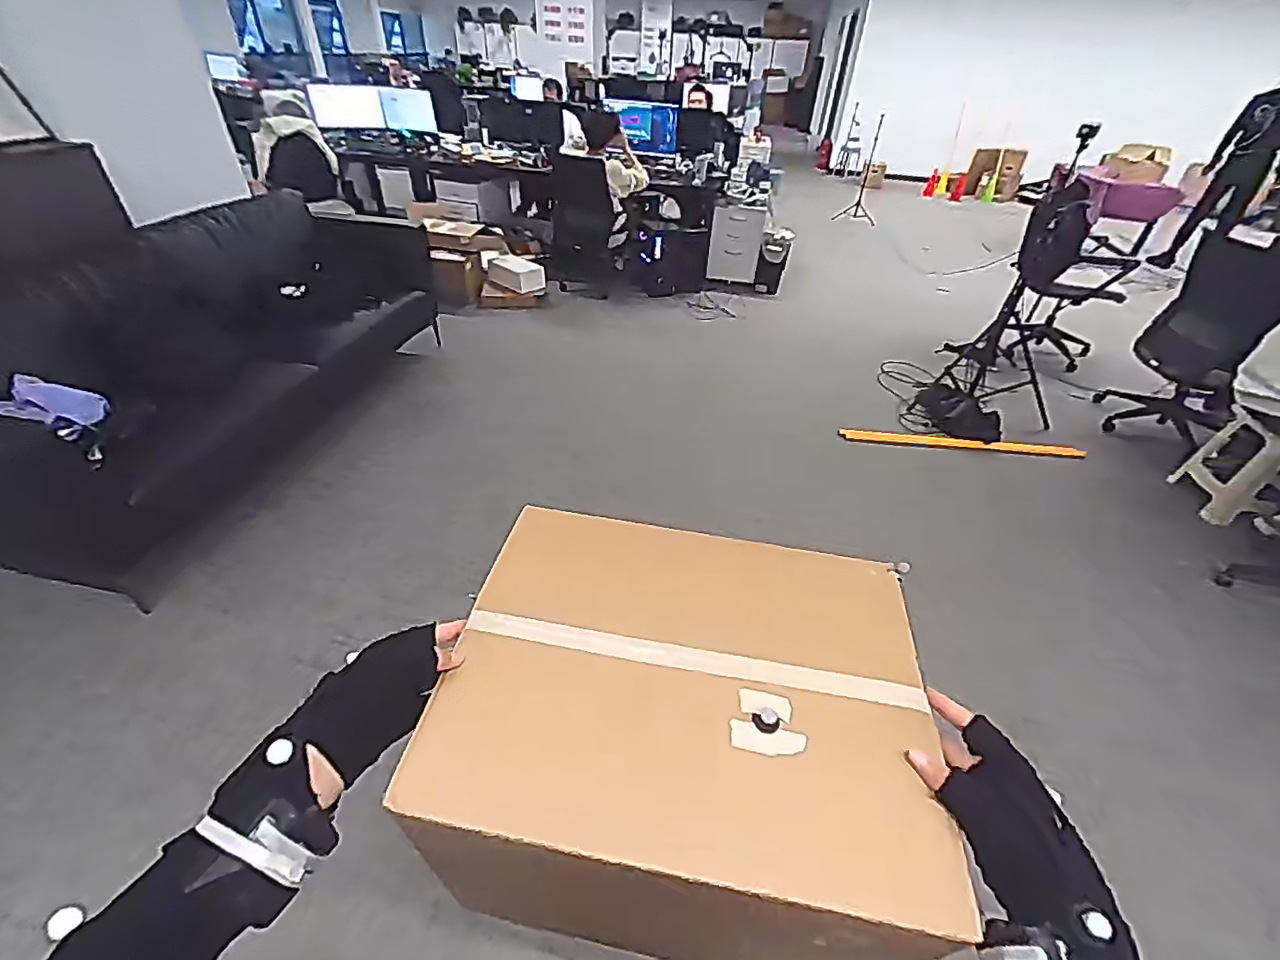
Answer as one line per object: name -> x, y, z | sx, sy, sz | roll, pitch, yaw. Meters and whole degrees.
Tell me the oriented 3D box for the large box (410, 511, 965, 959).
large box -> 0.040, 0.269, 0.586 | 0.408, 0.320, 0.320 | 8, 43, 6
